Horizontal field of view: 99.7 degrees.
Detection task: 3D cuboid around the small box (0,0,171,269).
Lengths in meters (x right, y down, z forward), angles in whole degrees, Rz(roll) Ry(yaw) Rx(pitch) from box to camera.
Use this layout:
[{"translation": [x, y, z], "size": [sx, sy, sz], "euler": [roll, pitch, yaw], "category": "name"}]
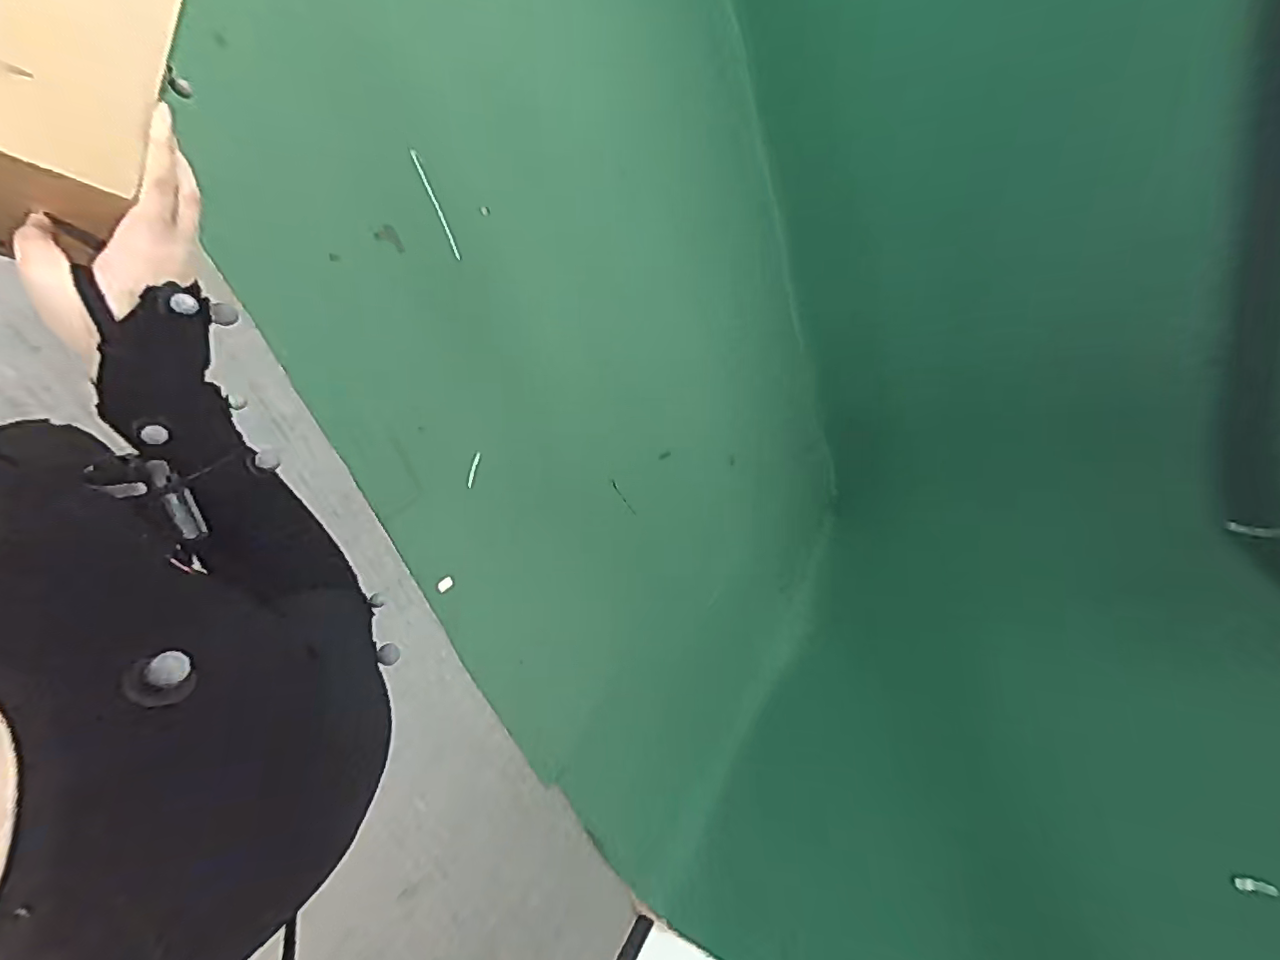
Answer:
[{"translation": [-0.389, -0.253, 0.302], "size": [0.168, 0.176, 0.179], "euler": [12, 78, -46], "category": "small box"}]
